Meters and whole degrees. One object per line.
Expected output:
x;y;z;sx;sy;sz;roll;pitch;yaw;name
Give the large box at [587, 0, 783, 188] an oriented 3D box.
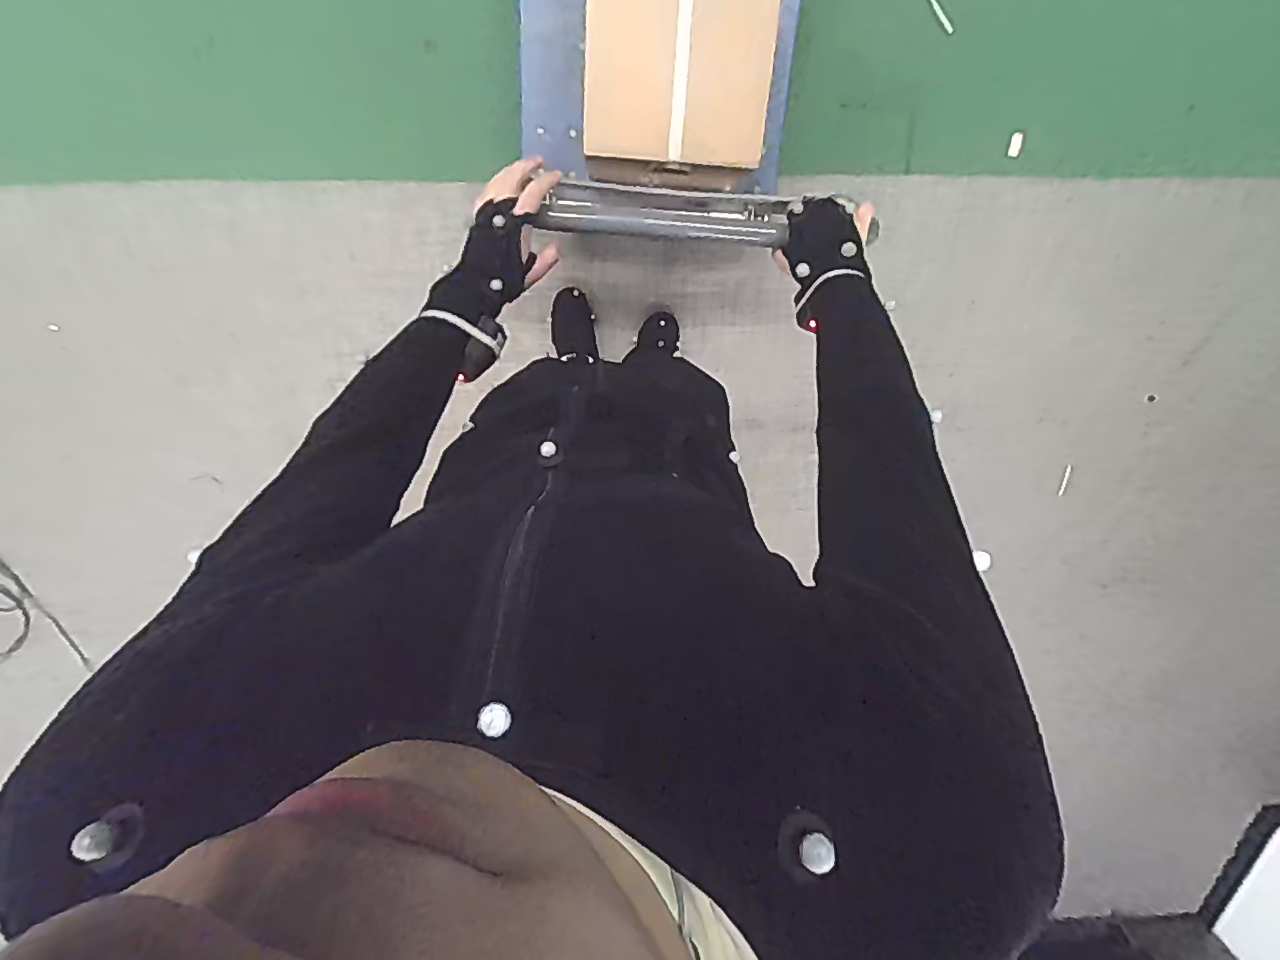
0.068;-0.794;1.010;0.320;0.320;0.408;3;112;-5;large box
